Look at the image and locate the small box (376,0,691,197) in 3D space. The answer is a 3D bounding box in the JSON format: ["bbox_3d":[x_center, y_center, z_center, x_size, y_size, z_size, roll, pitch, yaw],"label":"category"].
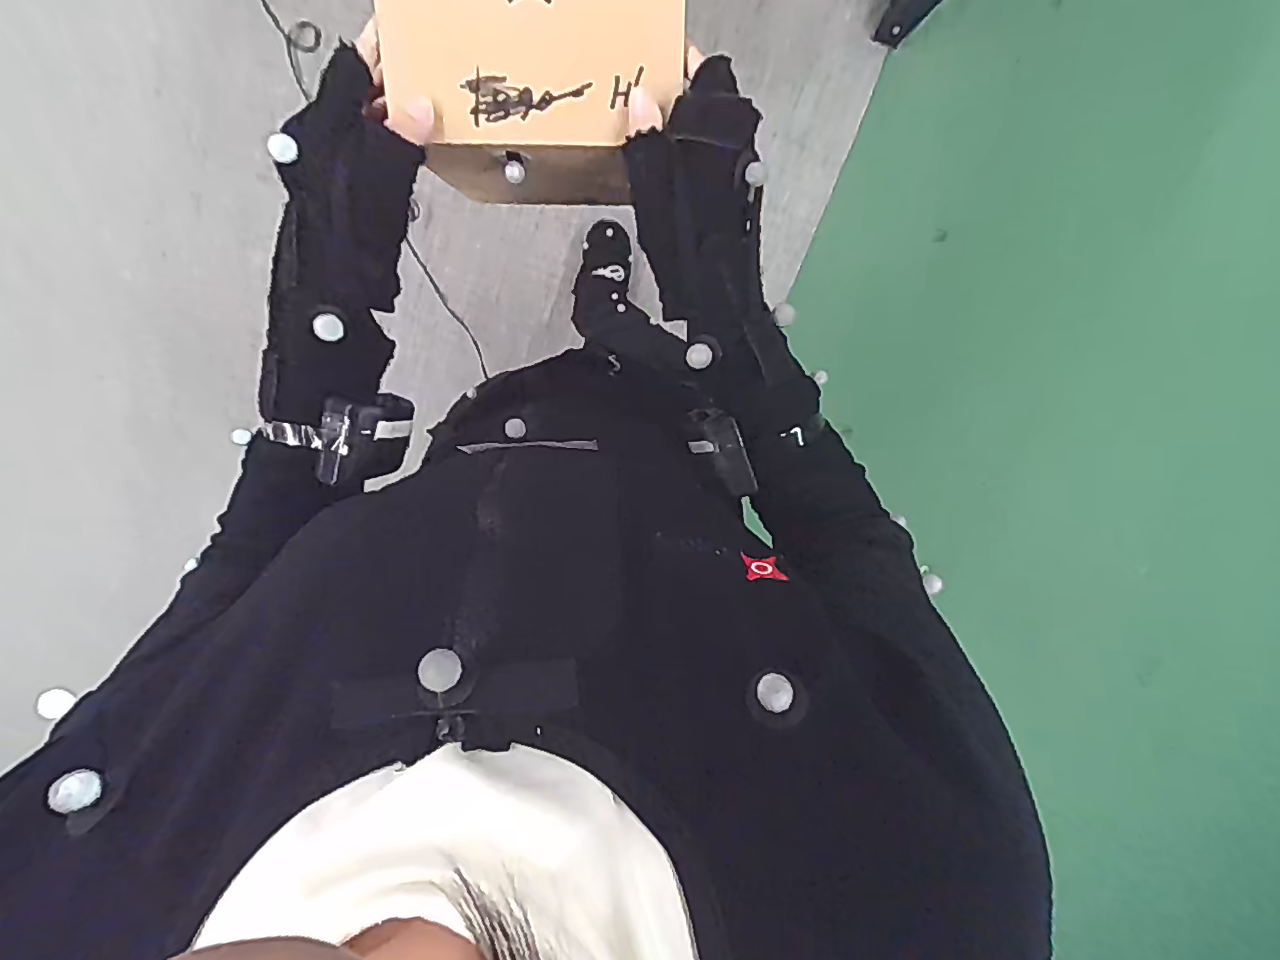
[{"bbox_3d":[-0.058,-0.302,0.351,0.168,0.176,0.179,0,106,-2],"label":"small box"}]
